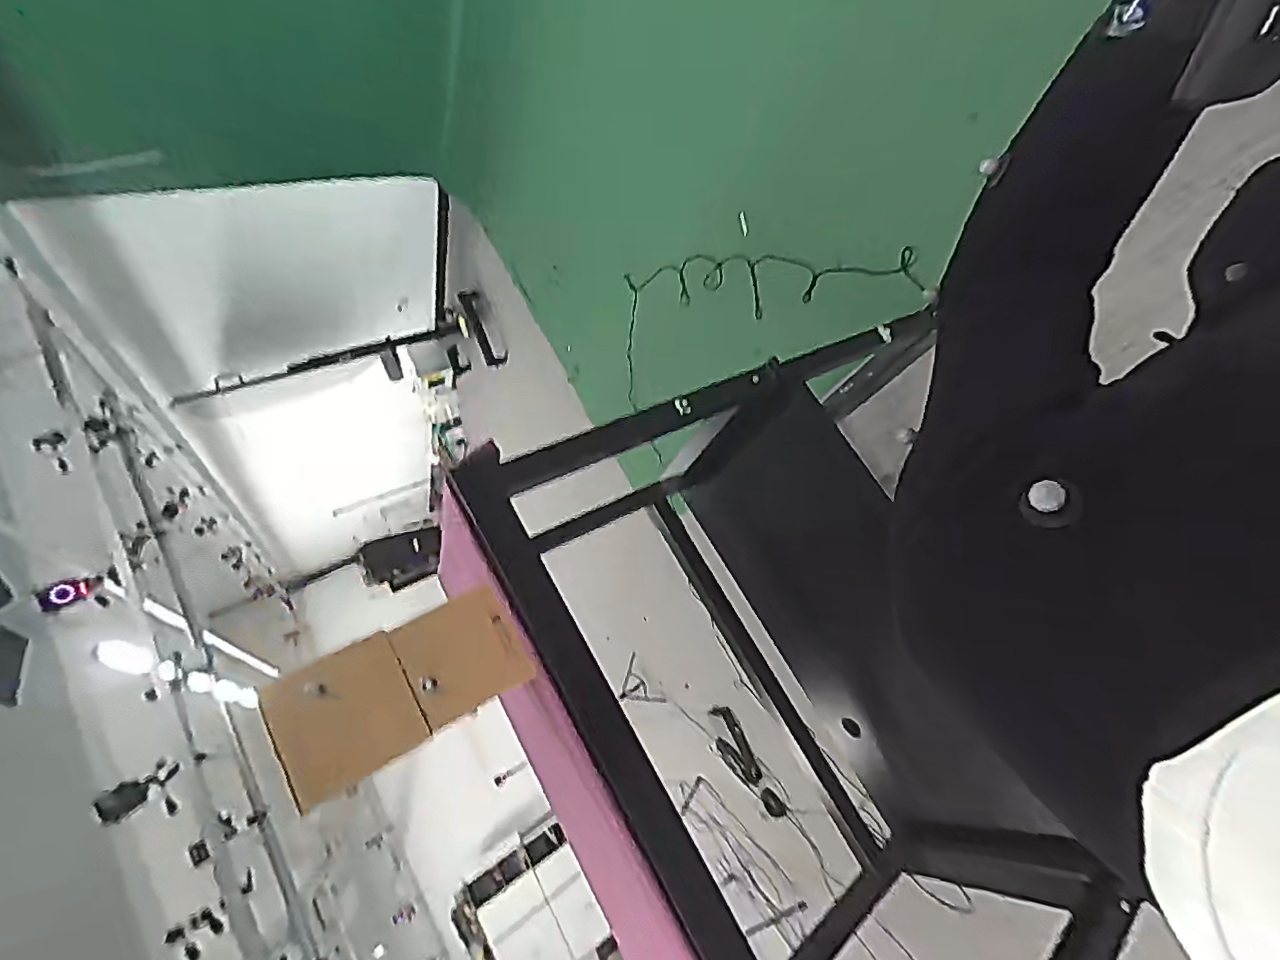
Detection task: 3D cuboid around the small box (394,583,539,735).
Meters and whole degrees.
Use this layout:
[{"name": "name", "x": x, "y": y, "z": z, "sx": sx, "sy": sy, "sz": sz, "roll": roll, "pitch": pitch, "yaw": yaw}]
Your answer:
[{"name": "small box", "x": -0.282, "y": 0.289, "z": 0.881, "sx": 0.168, "sy": 0.176, "sz": 0.179, "roll": 60, "pitch": 150, "yaw": 9}]
